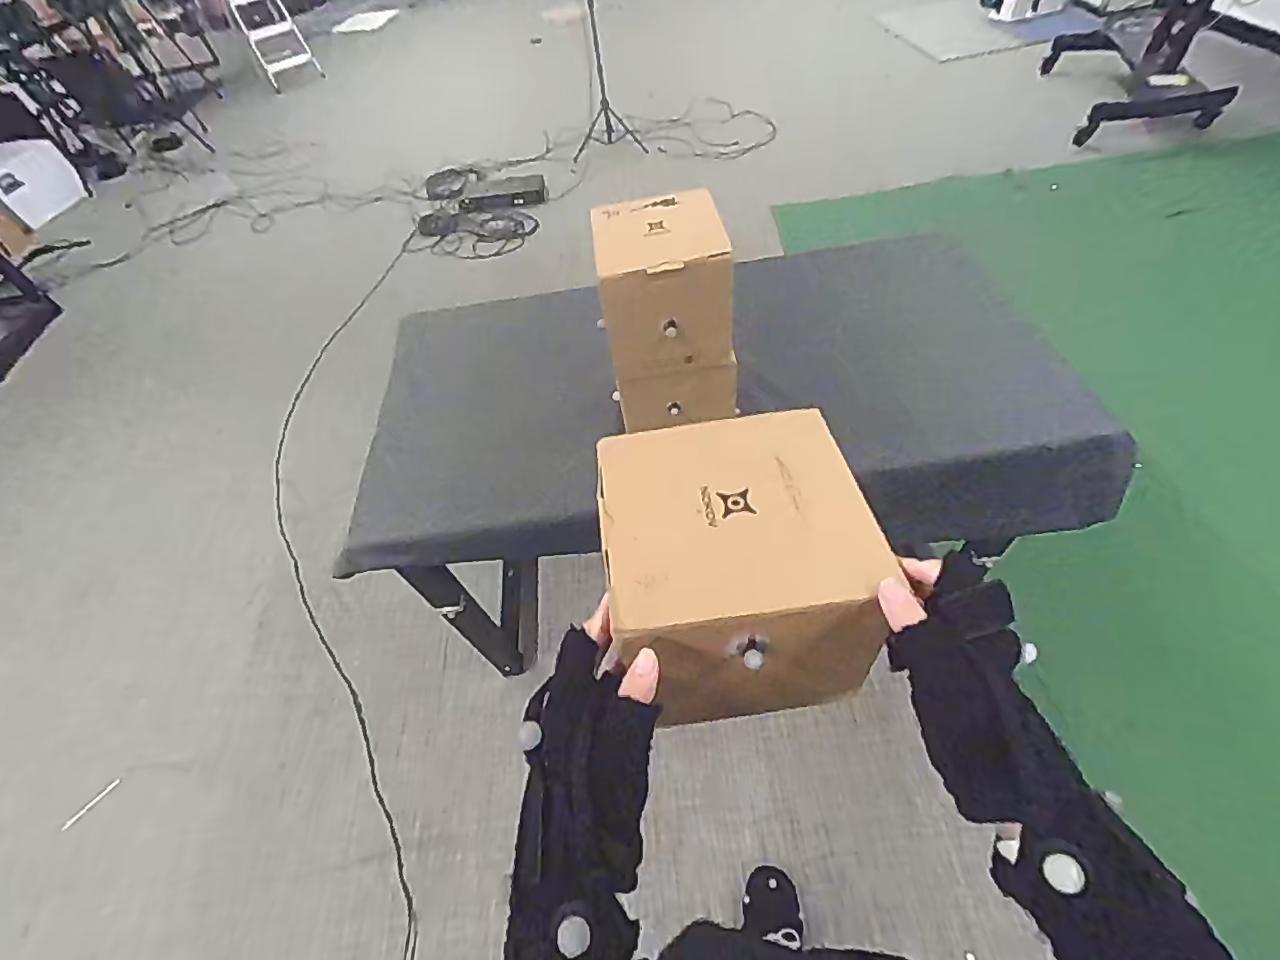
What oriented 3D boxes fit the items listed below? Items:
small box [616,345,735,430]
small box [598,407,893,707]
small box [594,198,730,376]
[{"bbox_3d":[0.055,-0.165,0.894,0.179,0.176,0.168,-8,52,3],"label":"small box"},{"bbox_3d":[0.067,0.066,0.437,0.179,0.176,0.168,-7,48,-2],"label":"small box"},{"bbox_3d":[0.033,-0.263,0.765,0.168,0.176,0.179,-8,52,2],"label":"small box"}]
